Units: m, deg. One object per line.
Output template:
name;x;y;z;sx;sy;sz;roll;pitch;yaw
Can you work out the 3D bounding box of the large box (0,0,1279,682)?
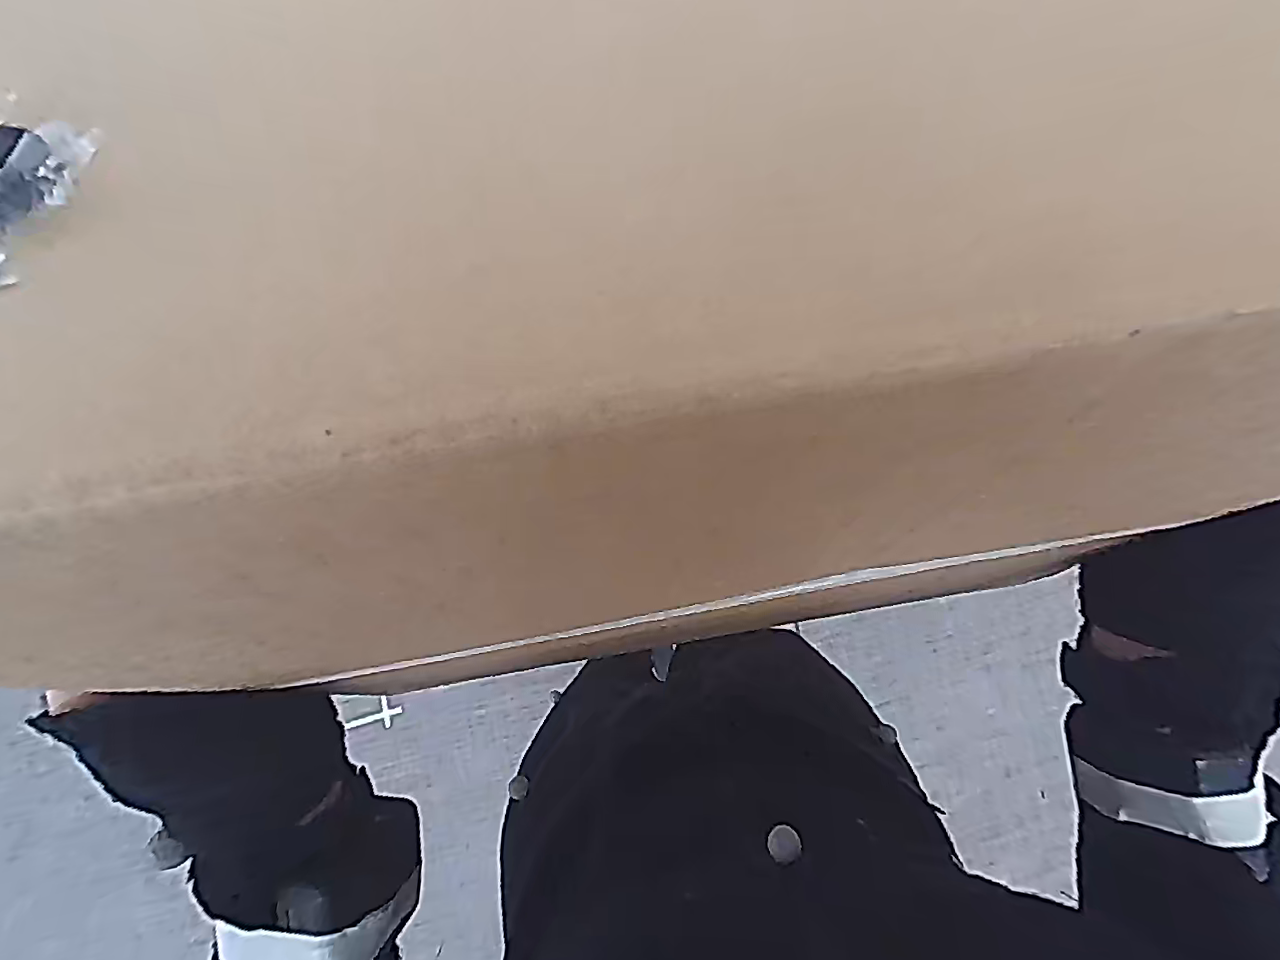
large box;0.015;-0.098;0.281;0.408;0.320;0.320;-9;68;-2
